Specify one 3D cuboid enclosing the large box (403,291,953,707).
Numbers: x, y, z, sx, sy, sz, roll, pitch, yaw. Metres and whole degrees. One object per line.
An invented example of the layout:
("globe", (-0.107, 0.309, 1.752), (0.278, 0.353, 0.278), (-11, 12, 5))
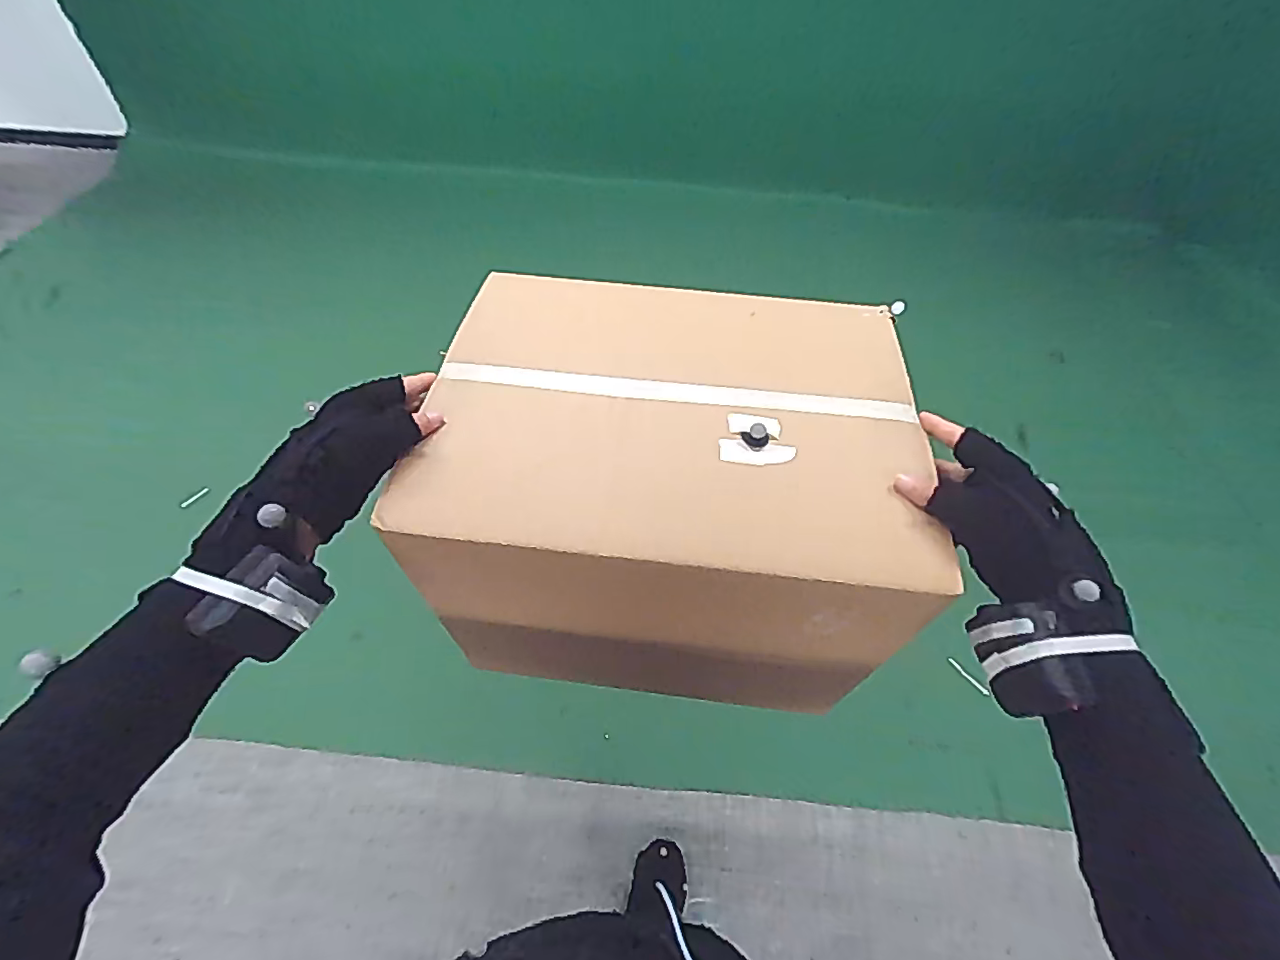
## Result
("large box", (0.031, 0.029, 0.590), (0.408, 0.320, 0.320), (6, 53, 2))
